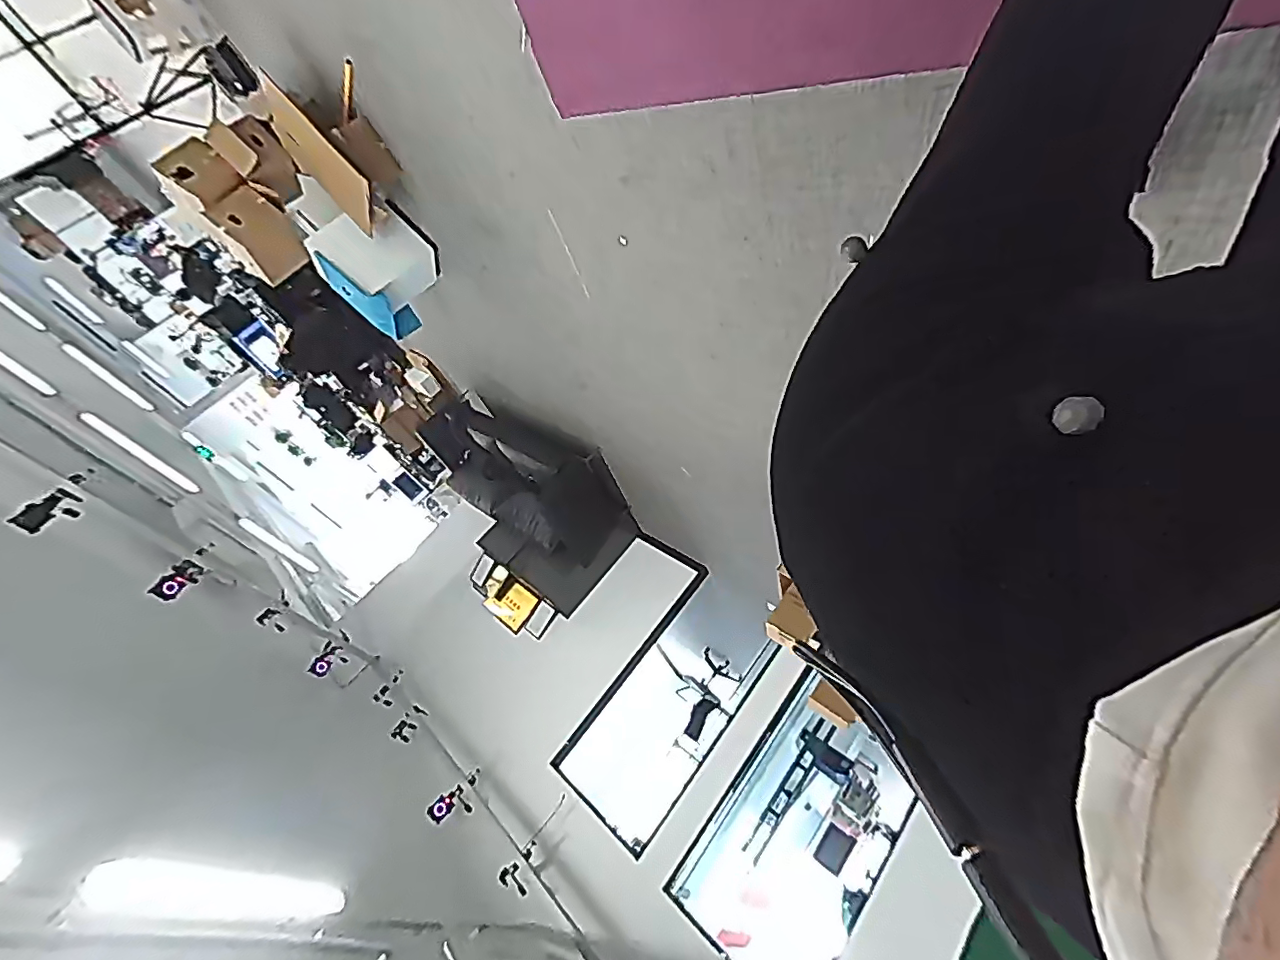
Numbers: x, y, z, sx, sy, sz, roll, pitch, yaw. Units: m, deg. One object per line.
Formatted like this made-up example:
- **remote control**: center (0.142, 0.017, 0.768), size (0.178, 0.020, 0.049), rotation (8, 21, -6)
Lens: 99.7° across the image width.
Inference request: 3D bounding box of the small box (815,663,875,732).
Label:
- **small box**: center (0.816, 0.867, 2.157), size (0.168, 0.176, 0.179), rotation (29, 157, 32)

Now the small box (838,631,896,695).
- **small box**: center (0.922, 0.754, 2.210), size (0.168, 0.176, 0.179), rotation (30, 157, 32)

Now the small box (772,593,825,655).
- **small box**: center (0.701, 0.630, 2.381), size (0.168, 0.176, 0.179), rotation (31, 157, 33)
